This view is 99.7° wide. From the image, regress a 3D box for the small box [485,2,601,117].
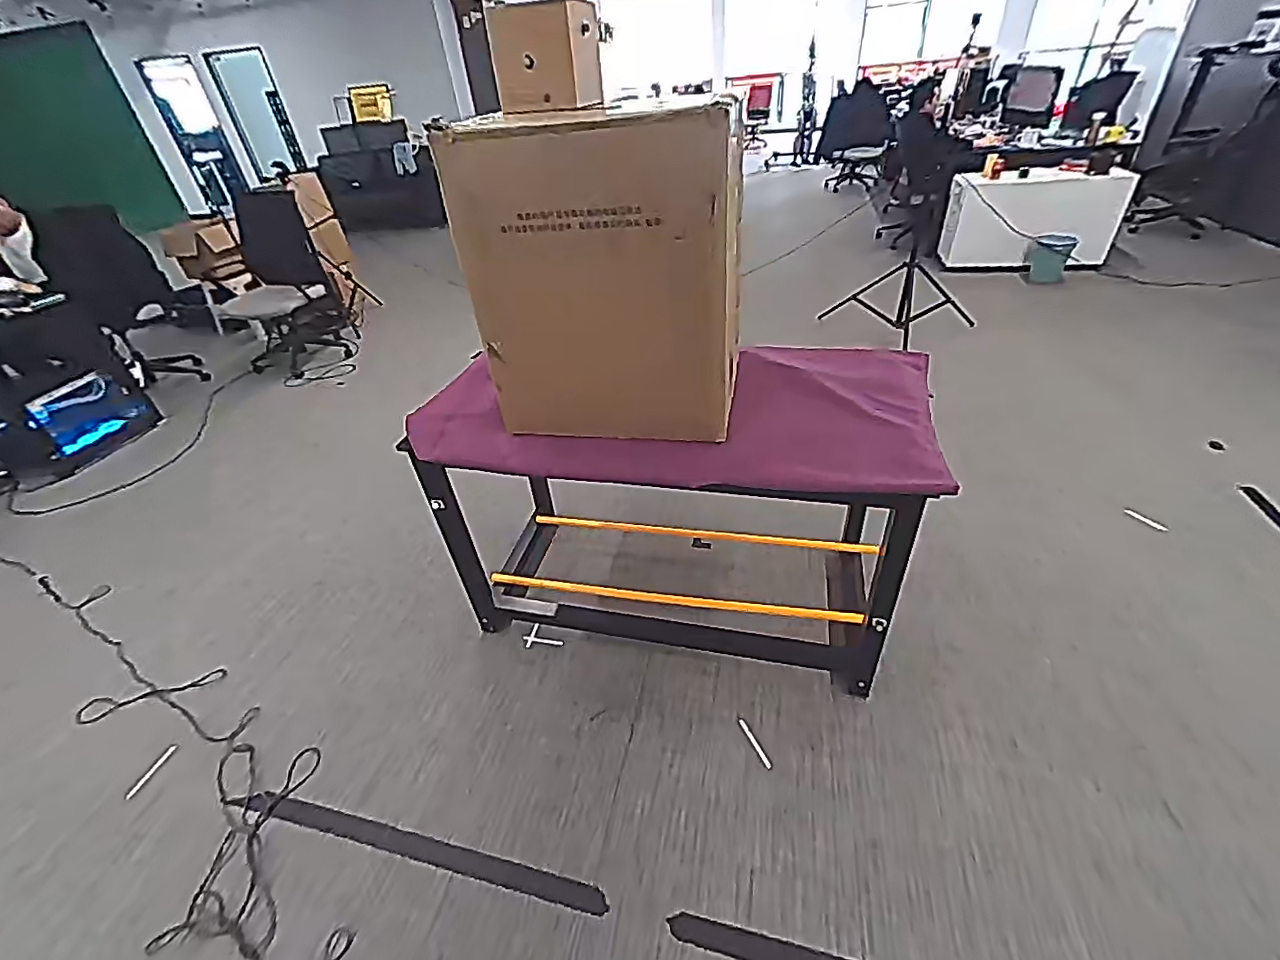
[{"bbox_3d":[-0.184,-0.843,1.096,0.168,0.176,0.179,6,38,14],"label":"small box"}]
